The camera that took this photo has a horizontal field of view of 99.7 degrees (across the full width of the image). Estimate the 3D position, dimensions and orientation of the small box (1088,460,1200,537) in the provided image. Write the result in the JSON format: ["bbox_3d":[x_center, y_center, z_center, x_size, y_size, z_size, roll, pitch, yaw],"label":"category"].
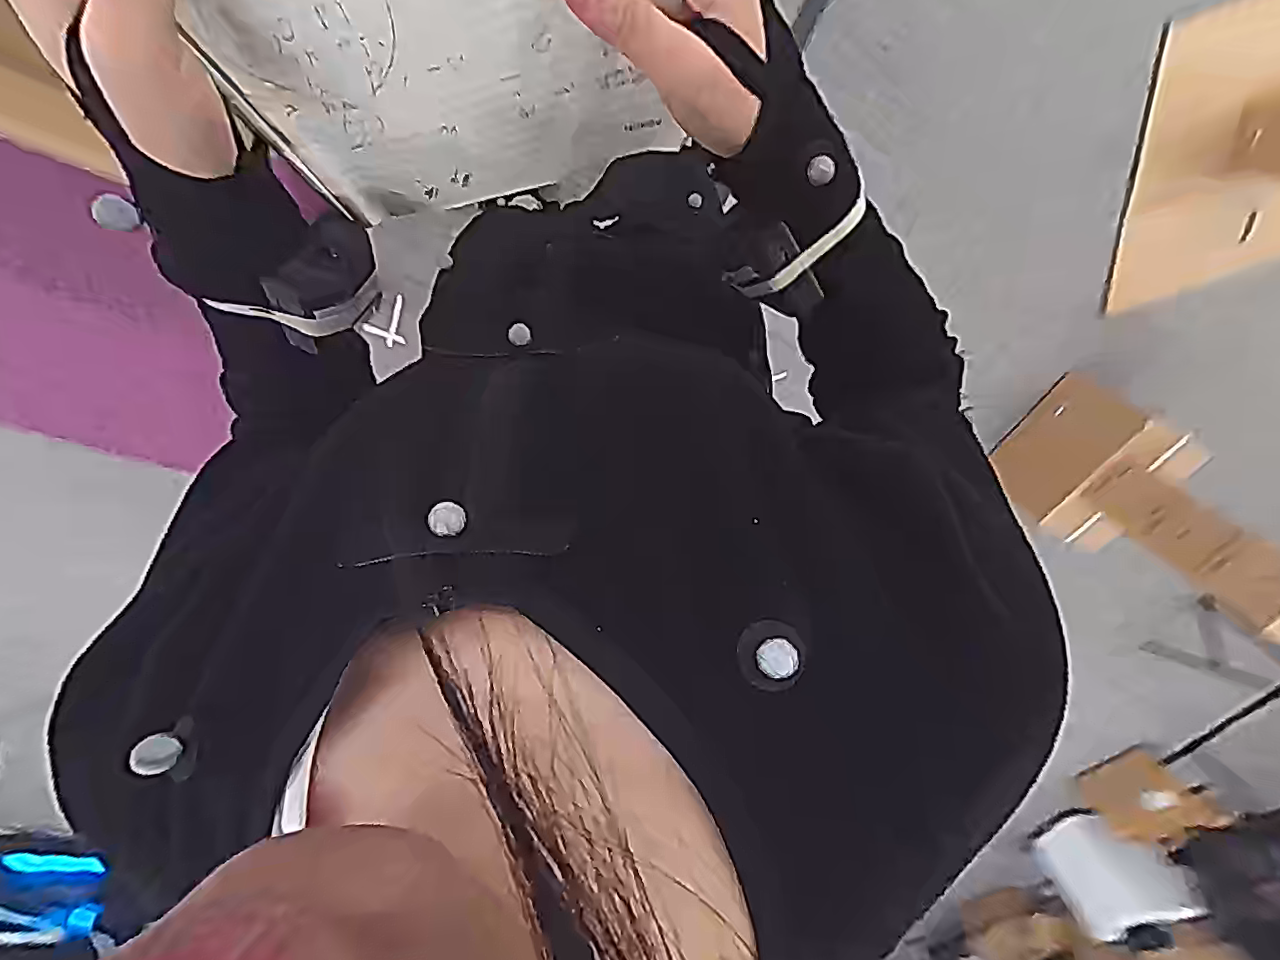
[{"bbox_3d":[1.413,0.067,1.502,0.179,0.176,0.168,23,117,-22],"label":"small box"}]

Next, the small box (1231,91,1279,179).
[{"bbox_3d":[1.593,-0.840,1.282,0.179,0.176,0.168,-20,125,7],"label":"small box"}]

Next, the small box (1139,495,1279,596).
[{"bbox_3d":[1.442,0.161,1.371,0.179,0.176,0.168,21,119,-19],"label":"small box"}]
